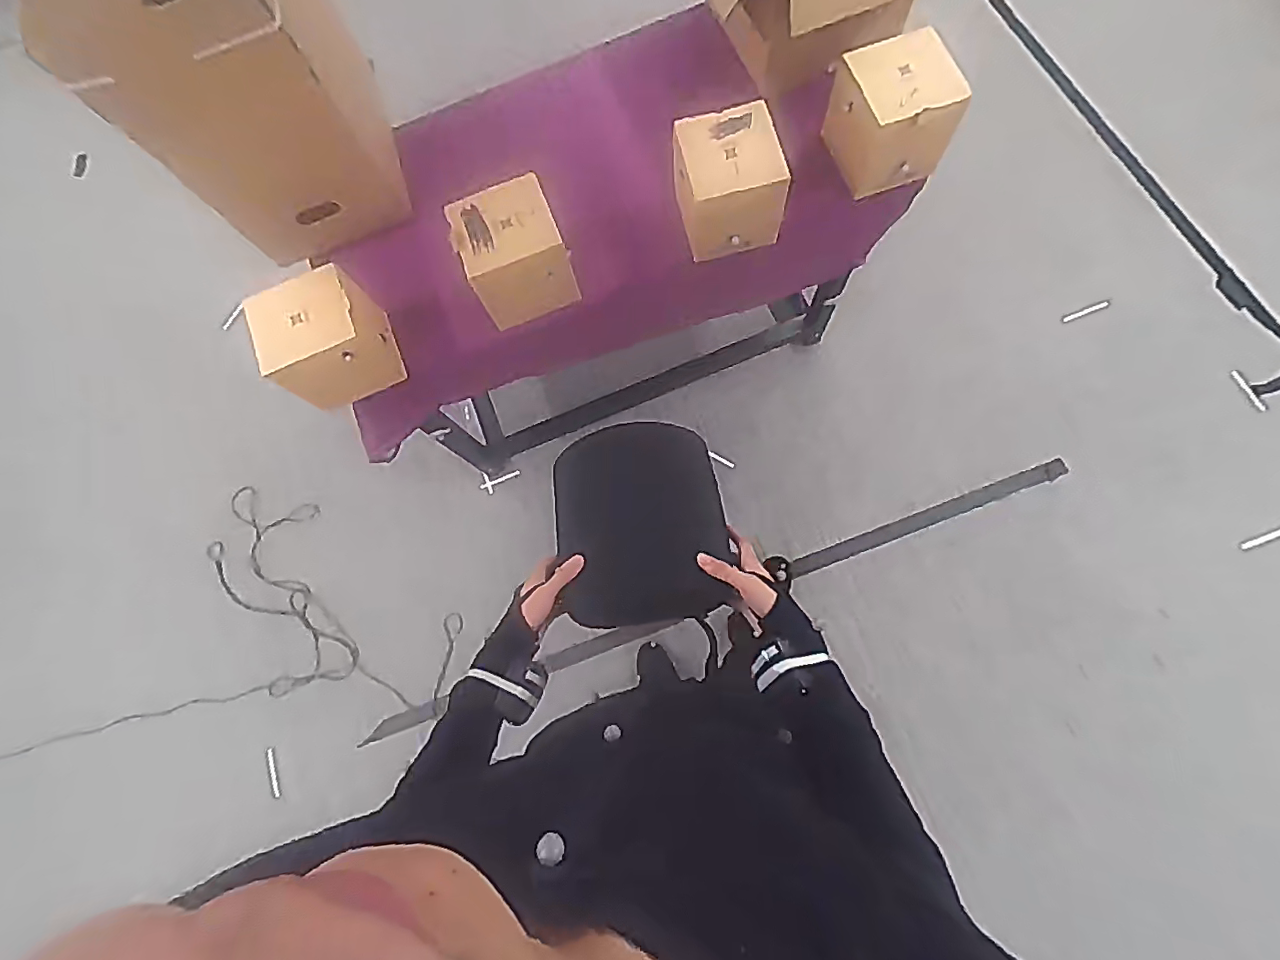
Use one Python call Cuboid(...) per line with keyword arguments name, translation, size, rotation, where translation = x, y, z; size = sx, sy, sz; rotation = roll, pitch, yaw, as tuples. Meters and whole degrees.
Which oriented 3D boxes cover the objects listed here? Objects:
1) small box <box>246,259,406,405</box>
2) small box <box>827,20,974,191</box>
Cuboid(name="small box", translation=(-0.572, -0.263, 1.002), size=(0.179, 0.176, 0.168), rotation=(-24, 75, -2))
Cuboid(name="small box", translation=(0.466, -0.683, 1.001), size=(0.168, 0.176, 0.179), rotation=(-17, 74, 2))
